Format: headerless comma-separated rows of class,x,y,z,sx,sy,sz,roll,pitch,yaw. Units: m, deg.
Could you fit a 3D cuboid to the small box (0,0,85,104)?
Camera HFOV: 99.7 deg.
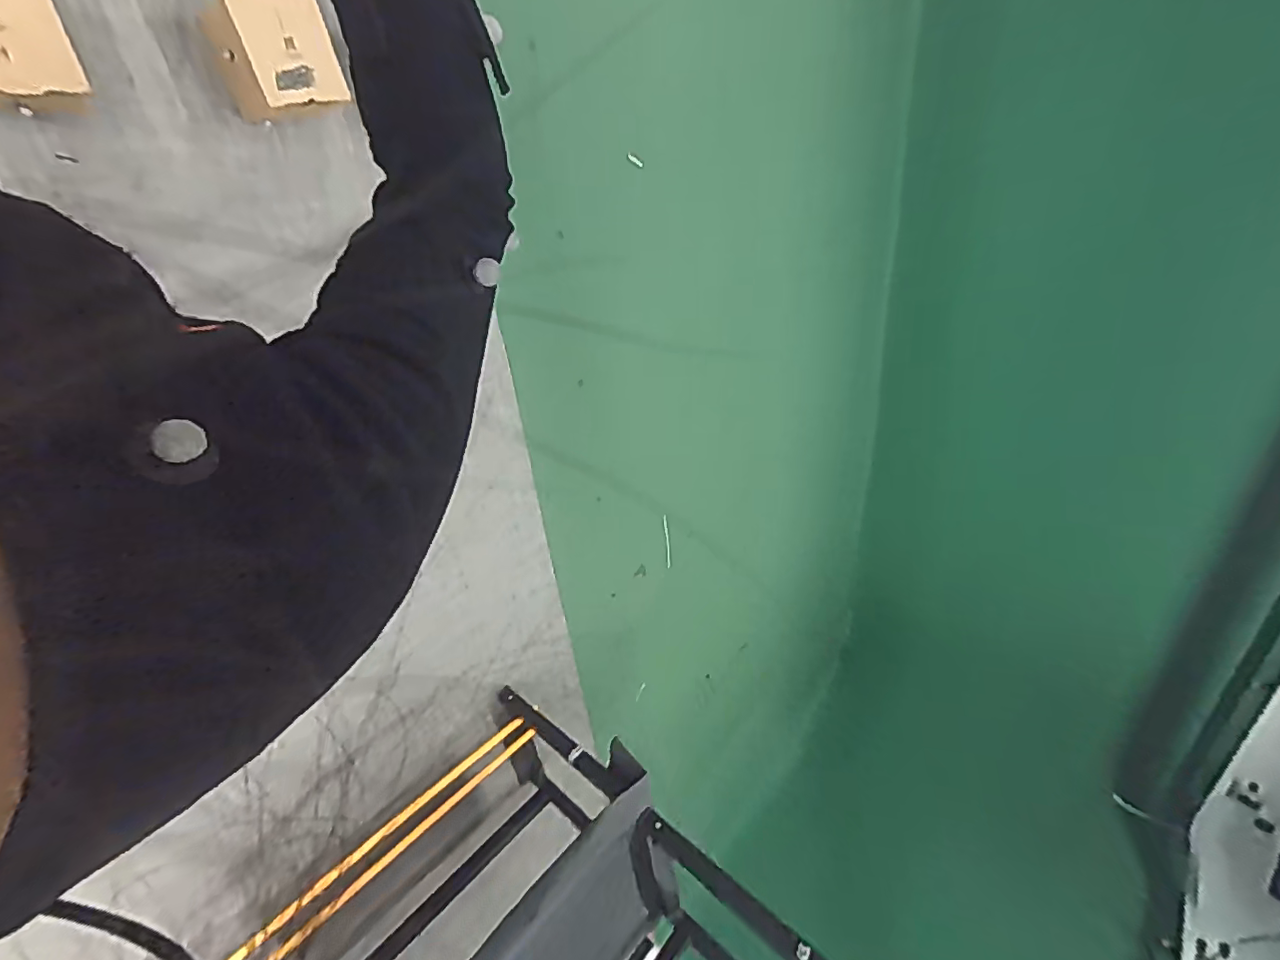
small box,-0.994,-0.689,0.812,0.168,0.176,0.179,-30,127,-38

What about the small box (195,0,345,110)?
small box,-0.728,-0.849,1.068,0.168,0.176,0.179,-37,129,-36
